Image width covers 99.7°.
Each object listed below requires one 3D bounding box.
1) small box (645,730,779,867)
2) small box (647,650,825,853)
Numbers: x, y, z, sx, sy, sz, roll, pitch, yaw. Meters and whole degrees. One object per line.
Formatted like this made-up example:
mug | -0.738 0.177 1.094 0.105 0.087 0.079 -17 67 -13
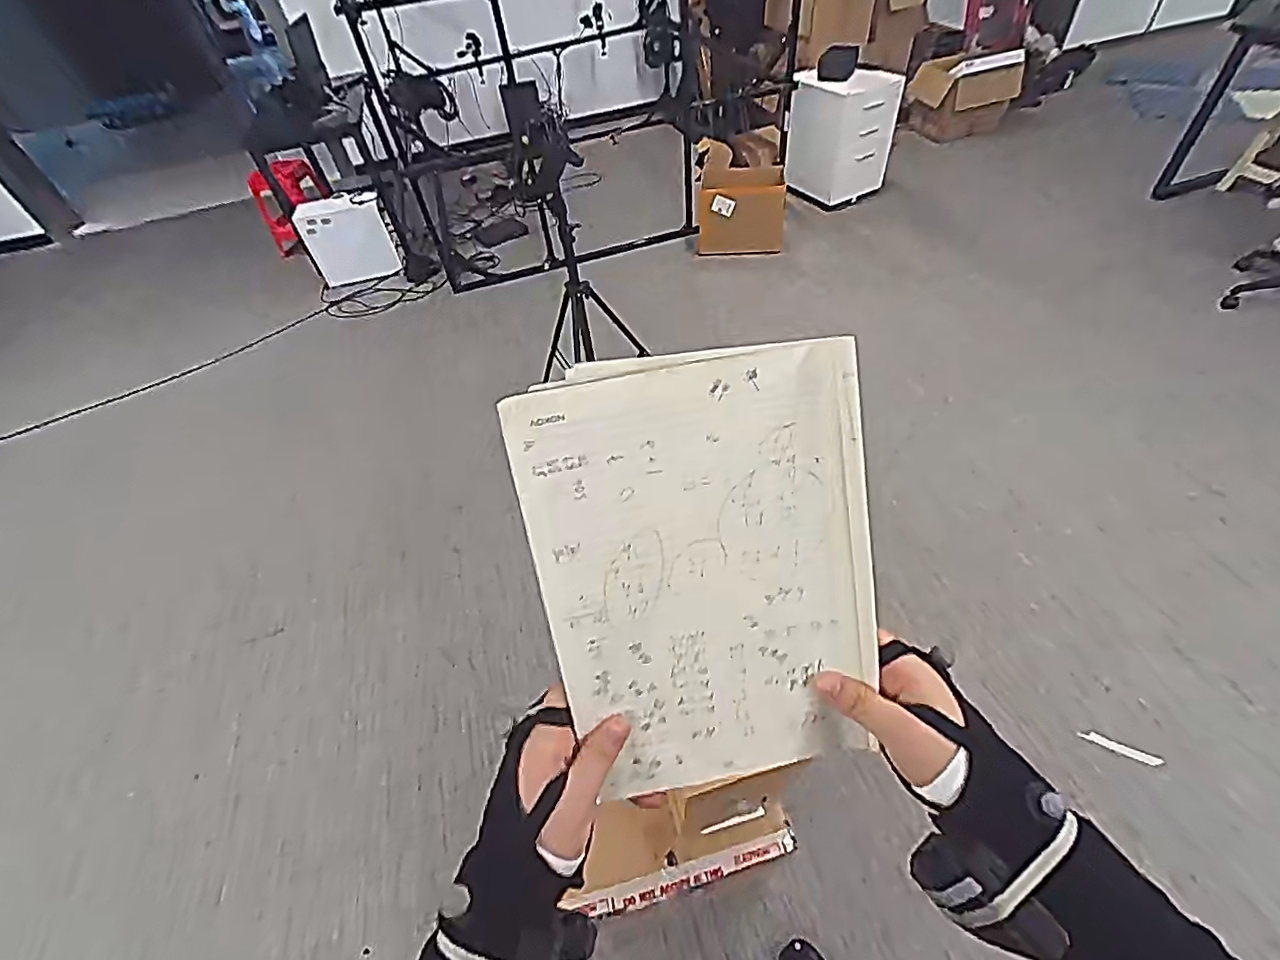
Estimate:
small box | 0.117 0.462 0.829 0.179 0.176 0.168 -17 50 -10
small box | 0.110 0.354 0.705 0.168 0.176 0.179 -14 51 -8
